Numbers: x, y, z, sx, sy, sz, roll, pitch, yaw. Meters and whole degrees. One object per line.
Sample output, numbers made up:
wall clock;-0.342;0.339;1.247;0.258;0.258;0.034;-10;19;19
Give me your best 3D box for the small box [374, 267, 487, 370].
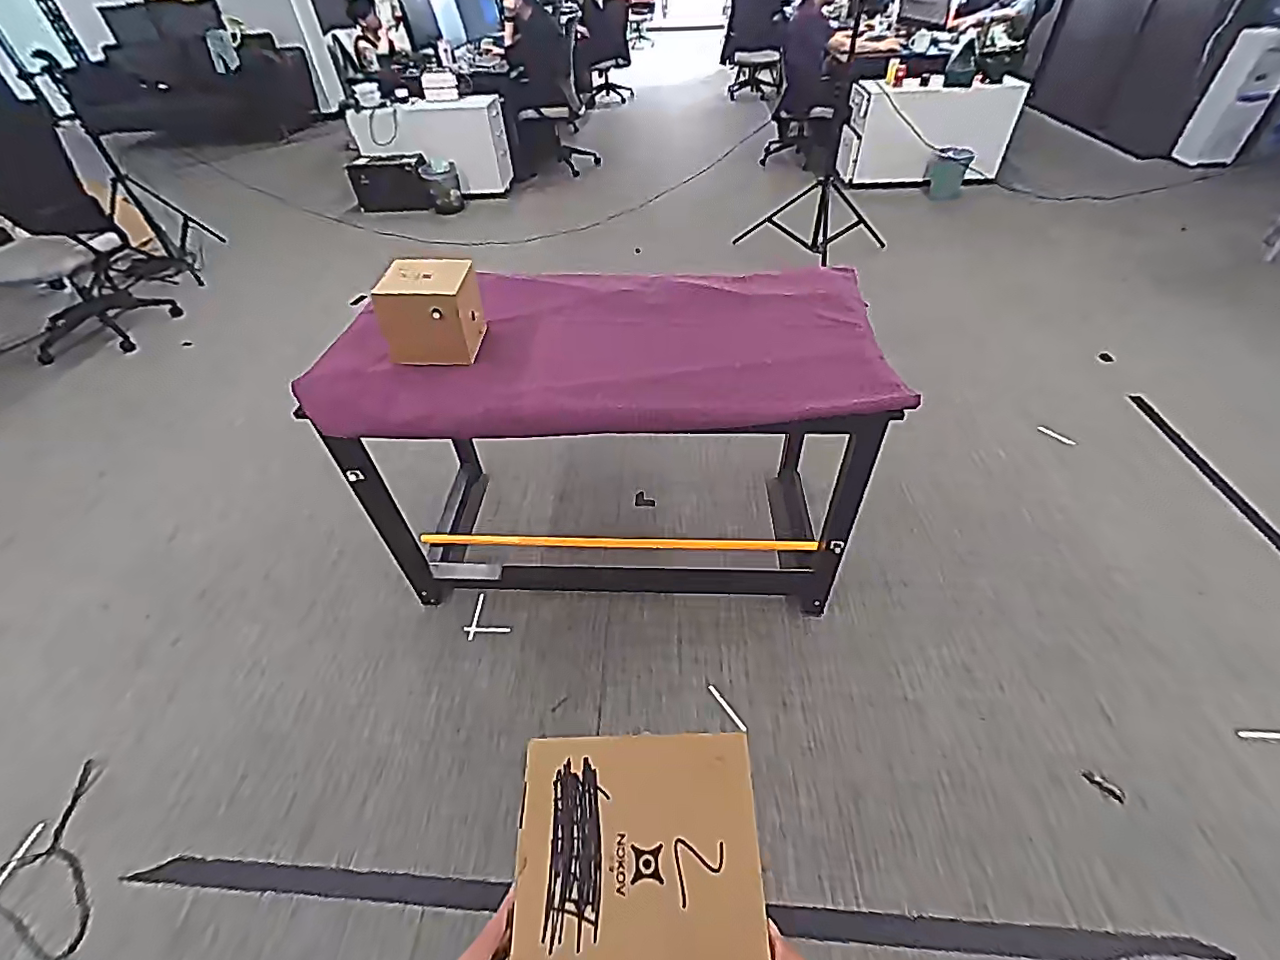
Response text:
small box;-0.453;-0.357;1.204;0.179;0.176;0.168;0;44;0
